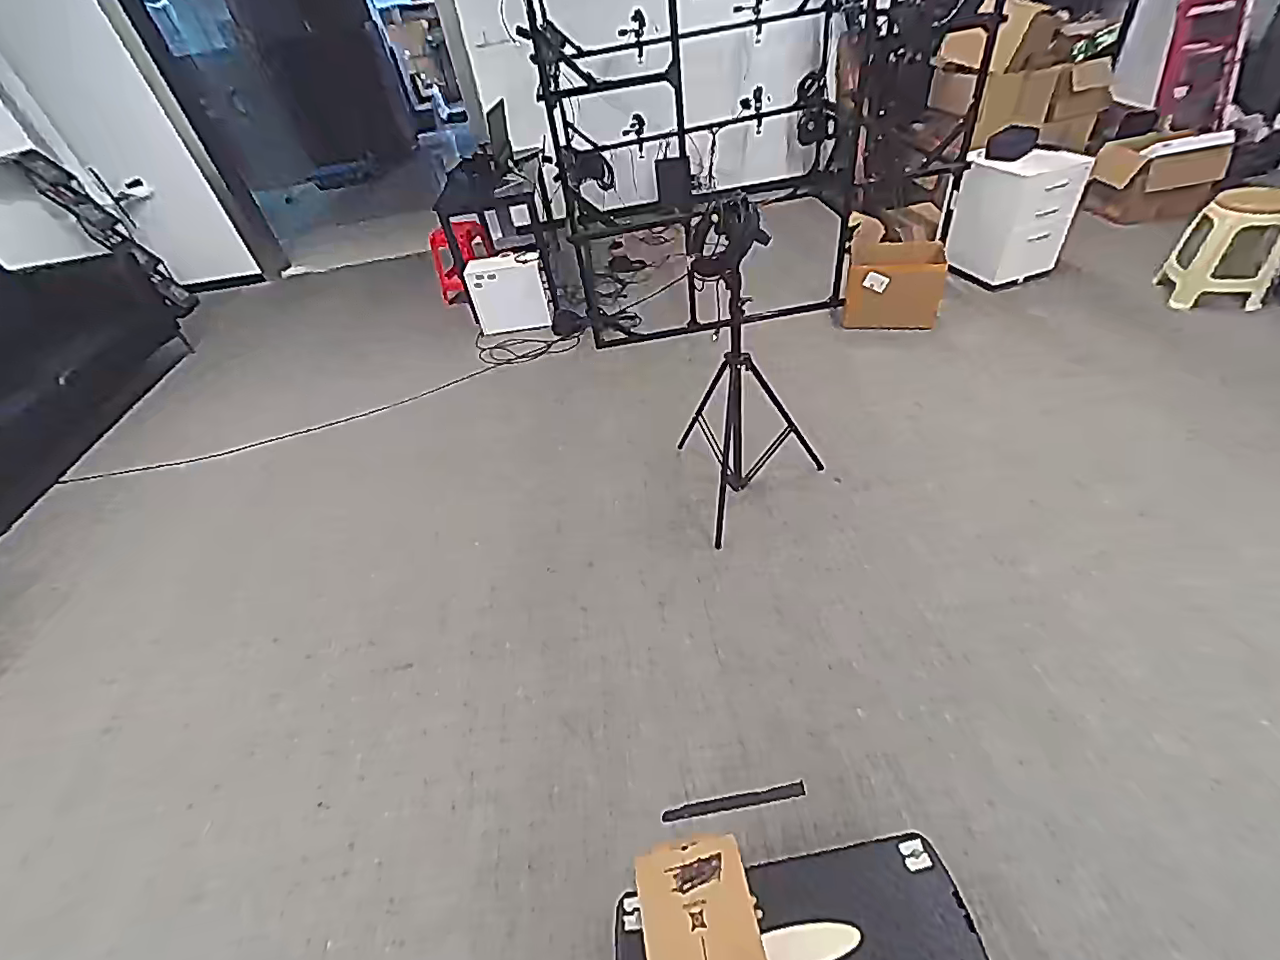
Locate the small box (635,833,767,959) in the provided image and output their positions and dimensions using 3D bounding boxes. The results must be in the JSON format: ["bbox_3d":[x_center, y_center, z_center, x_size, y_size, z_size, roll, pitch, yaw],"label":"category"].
[{"bbox_3d":[0.092,0.688,0.840,0.168,0.176,0.179,-12,42,-2],"label":"small box"}]
